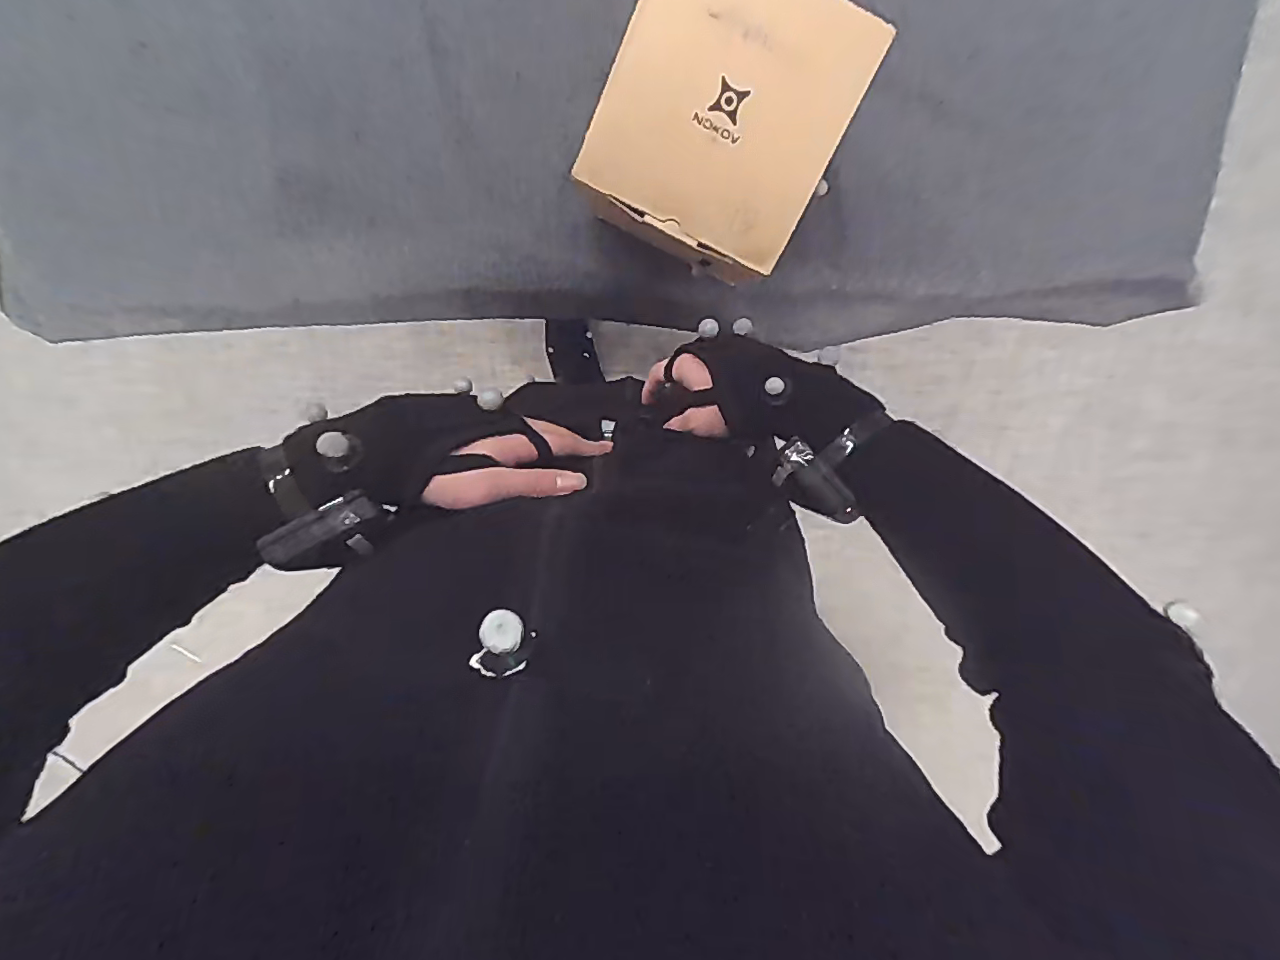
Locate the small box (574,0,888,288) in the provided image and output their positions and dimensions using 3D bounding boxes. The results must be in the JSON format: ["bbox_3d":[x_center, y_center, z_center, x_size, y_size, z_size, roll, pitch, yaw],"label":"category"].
[{"bbox_3d":[0.062,-0.276,0.454,0.168,0.176,0.179,24,106,-7],"label":"small box"}]
